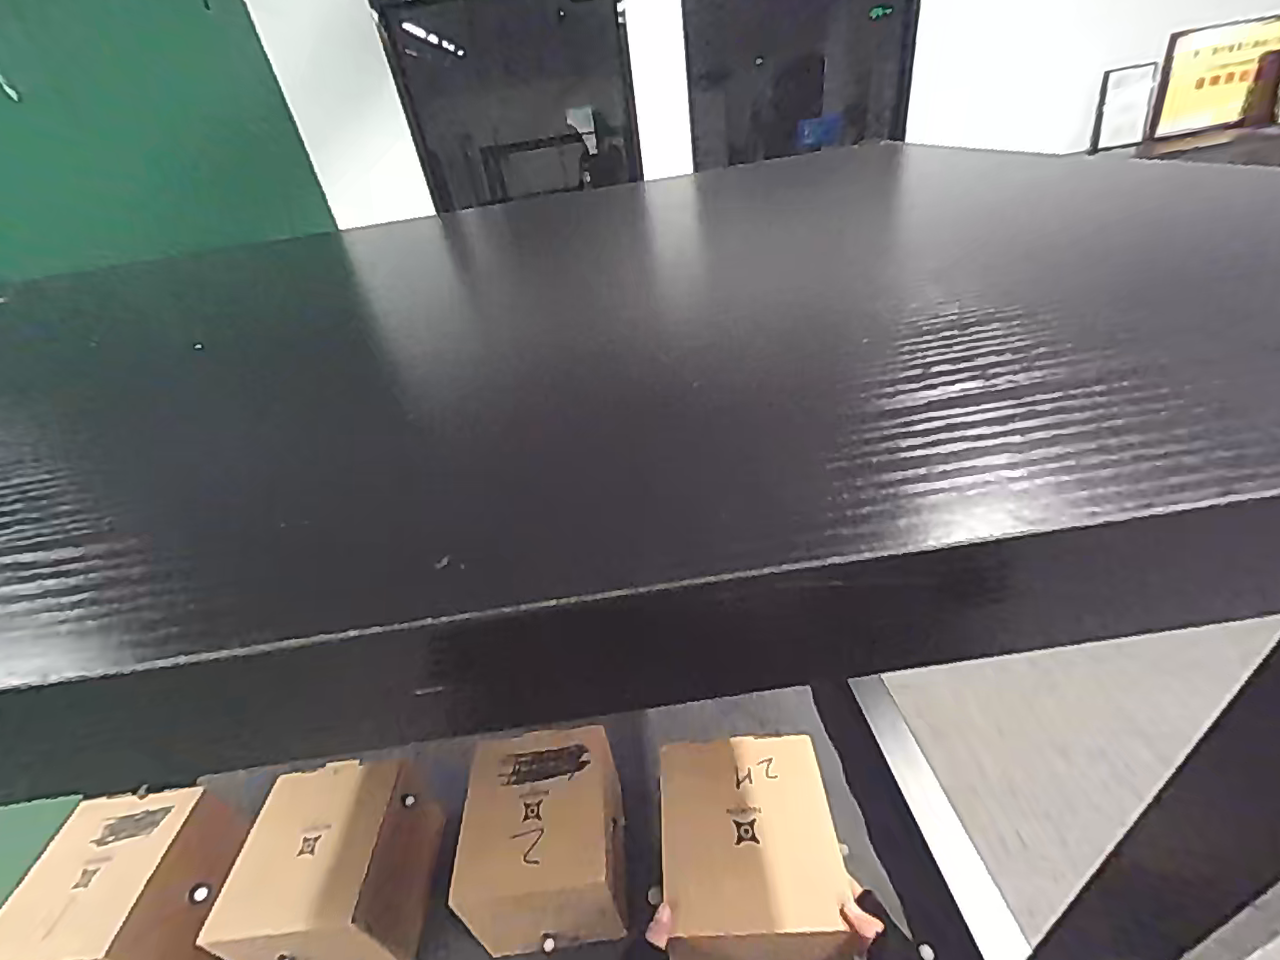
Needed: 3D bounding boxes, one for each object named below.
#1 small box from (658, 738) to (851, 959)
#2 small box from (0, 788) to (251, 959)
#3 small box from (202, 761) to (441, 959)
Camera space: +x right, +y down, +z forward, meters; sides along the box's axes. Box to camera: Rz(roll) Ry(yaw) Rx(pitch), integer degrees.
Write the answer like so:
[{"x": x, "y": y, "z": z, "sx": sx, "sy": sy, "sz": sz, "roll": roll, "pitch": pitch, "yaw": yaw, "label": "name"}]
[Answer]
[{"x": 0.110, "y": 0.403, "z": 0.568, "sx": 0.168, "sy": 0.176, "sz": 0.179, "roll": -5, "pitch": 32, "yaw": 4, "label": "small box"}, {"x": -0.616, "y": 0.519, "z": 0.668, "sx": 0.168, "sy": 0.176, "sz": 0.179, "roll": -8, "pitch": 34, "yaw": 2, "label": "small box"}, {"x": -0.366, "y": 0.484, "z": 0.666, "sx": 0.168, "sy": 0.176, "sz": 0.179, "roll": -8, "pitch": 33, "yaw": 1, "label": "small box"}]
